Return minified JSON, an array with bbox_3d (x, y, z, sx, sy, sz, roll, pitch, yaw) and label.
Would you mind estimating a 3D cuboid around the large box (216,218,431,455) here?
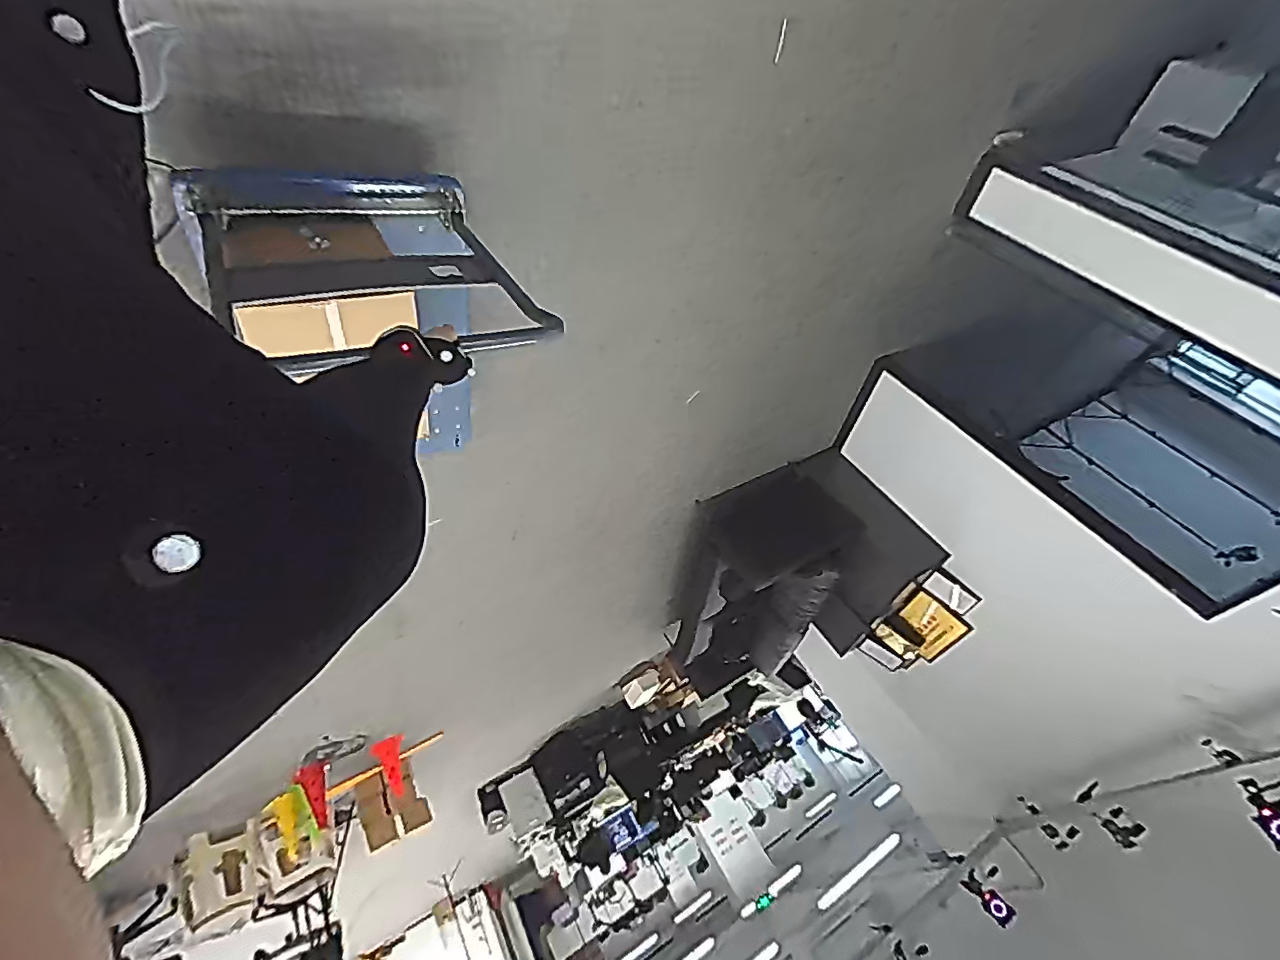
[{"bbox_3d":[-0.707,-0.334,1.250,0.320,0.320,0.408,-18,144,-28],"label":"large box"}]
